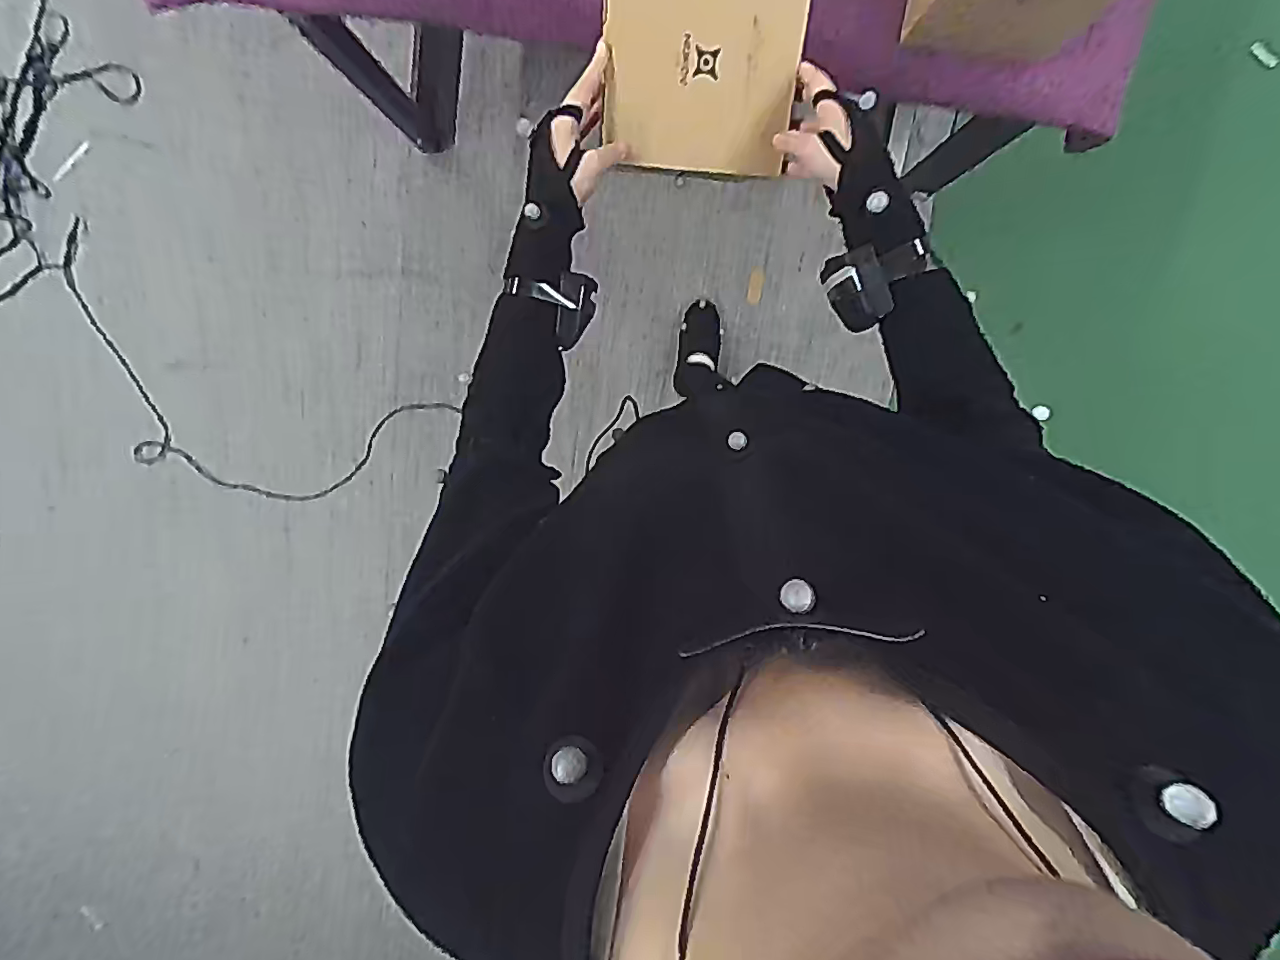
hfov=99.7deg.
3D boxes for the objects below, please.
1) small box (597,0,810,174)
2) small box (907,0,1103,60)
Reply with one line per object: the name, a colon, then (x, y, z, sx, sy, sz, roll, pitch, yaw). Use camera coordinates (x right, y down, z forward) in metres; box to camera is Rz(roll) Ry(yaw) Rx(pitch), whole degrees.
small box: (0.051, -0.410, 0.542, 0.179, 0.176, 0.168, 3, 118, -5)
small box: (0.411, -0.582, 0.566, 0.179, 0.176, 0.168, 8, 101, 1)
